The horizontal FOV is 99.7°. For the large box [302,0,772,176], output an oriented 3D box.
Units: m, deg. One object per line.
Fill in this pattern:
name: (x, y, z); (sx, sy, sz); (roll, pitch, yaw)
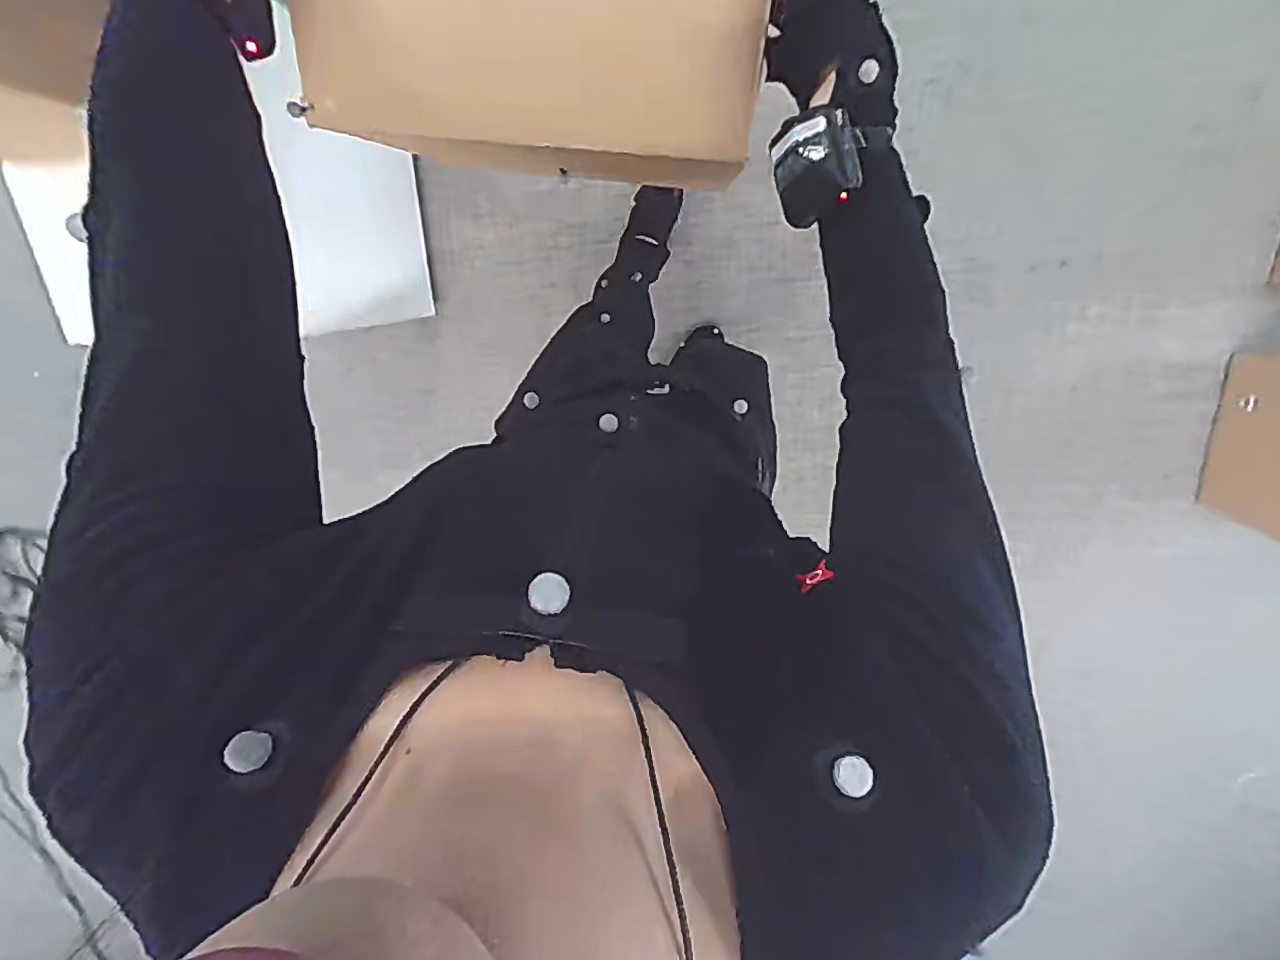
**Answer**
large box: (-0.070, -0.510, 0.558); (0.408, 0.320, 0.320); (7, 115, 4)
